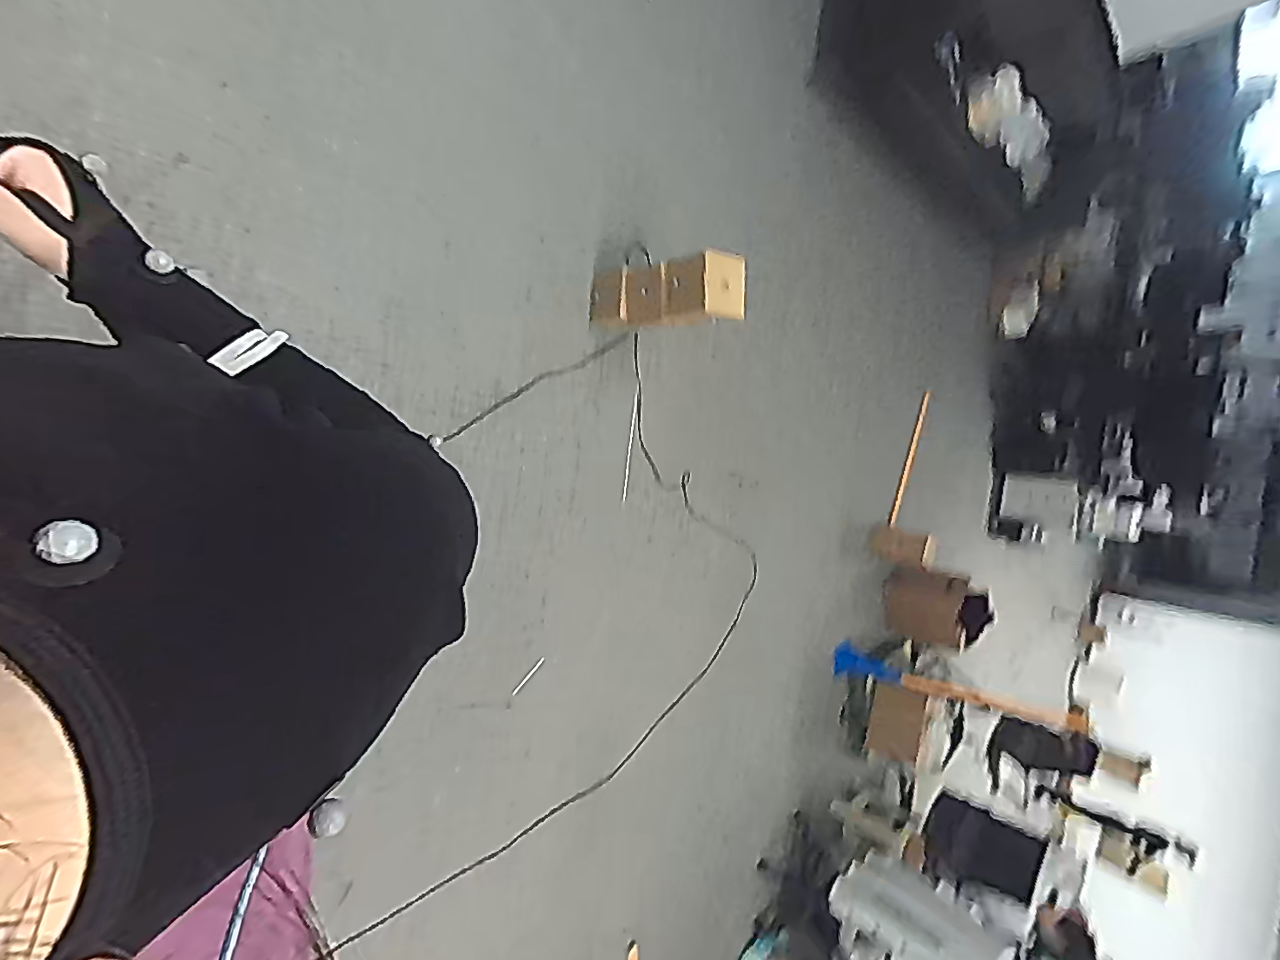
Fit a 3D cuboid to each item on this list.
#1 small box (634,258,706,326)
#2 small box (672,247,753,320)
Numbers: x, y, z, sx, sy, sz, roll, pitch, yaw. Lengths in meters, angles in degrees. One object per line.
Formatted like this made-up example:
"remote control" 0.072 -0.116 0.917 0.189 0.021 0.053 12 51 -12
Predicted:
"small box" 0.096 -0.588 1.716 0.168 0.176 0.179 -11 102 -39
"small box" 0.213 -0.575 1.603 0.179 0.176 0.168 -7 100 -39
